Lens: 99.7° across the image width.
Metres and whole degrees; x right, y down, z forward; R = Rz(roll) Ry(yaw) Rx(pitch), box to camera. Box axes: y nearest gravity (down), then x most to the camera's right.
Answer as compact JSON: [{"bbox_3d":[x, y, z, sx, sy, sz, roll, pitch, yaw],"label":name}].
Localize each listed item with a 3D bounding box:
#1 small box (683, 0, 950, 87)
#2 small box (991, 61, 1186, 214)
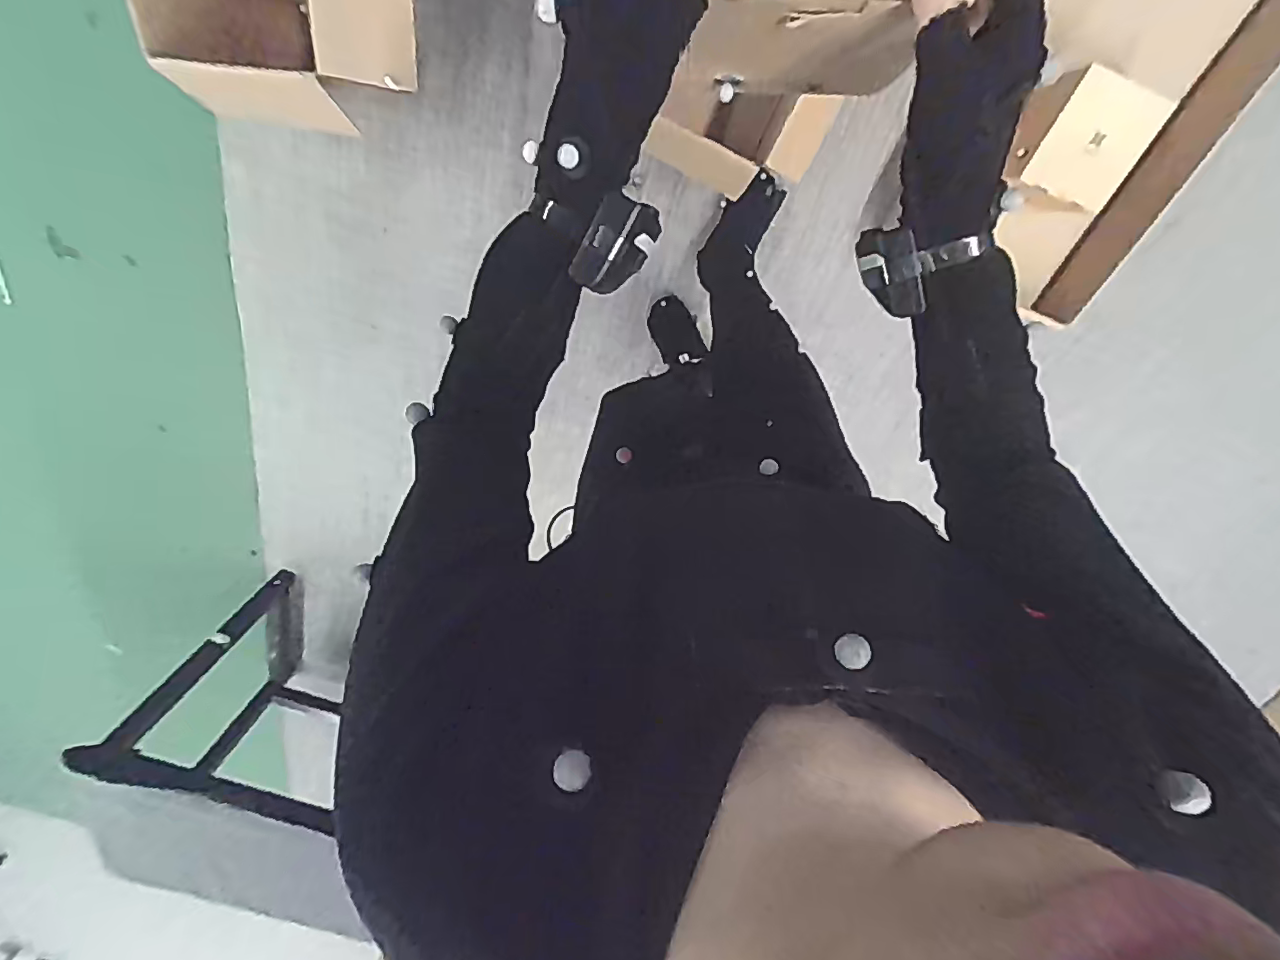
[{"bbox_3d":[0.119,-0.390,0.361,0.168,0.176,0.179,4,109,4],"label":"small box"},{"bbox_3d":[0.779,-0.601,0.967,0.168,0.176,0.179,20,120,-5],"label":"small box"}]
